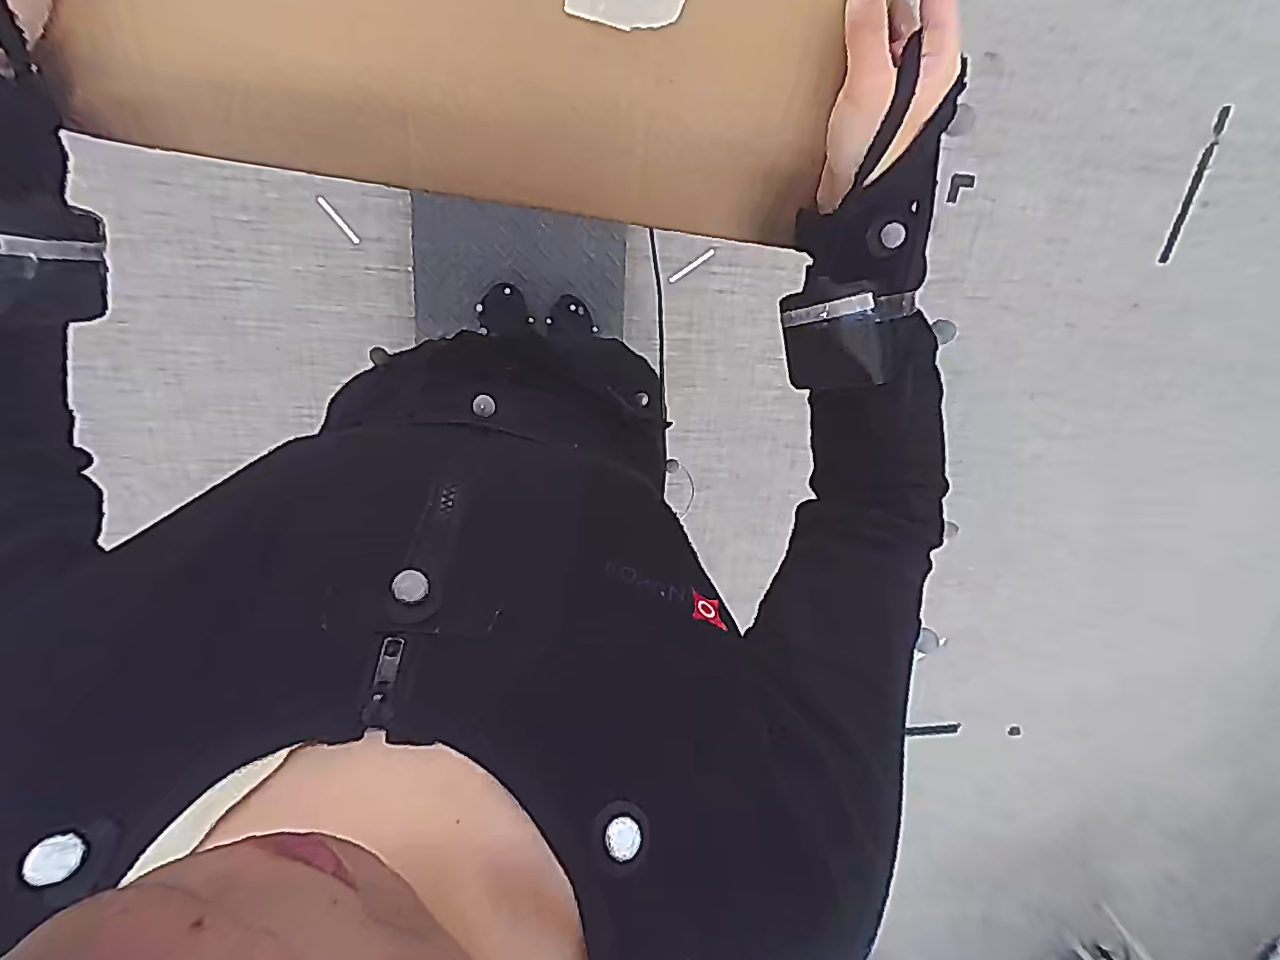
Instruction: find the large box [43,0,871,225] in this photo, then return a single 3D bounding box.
[{"bbox_3d":[-0.085,-0.385,0.343,0.408,0.320,0.320,3,128,-12],"label":"large box"}]
